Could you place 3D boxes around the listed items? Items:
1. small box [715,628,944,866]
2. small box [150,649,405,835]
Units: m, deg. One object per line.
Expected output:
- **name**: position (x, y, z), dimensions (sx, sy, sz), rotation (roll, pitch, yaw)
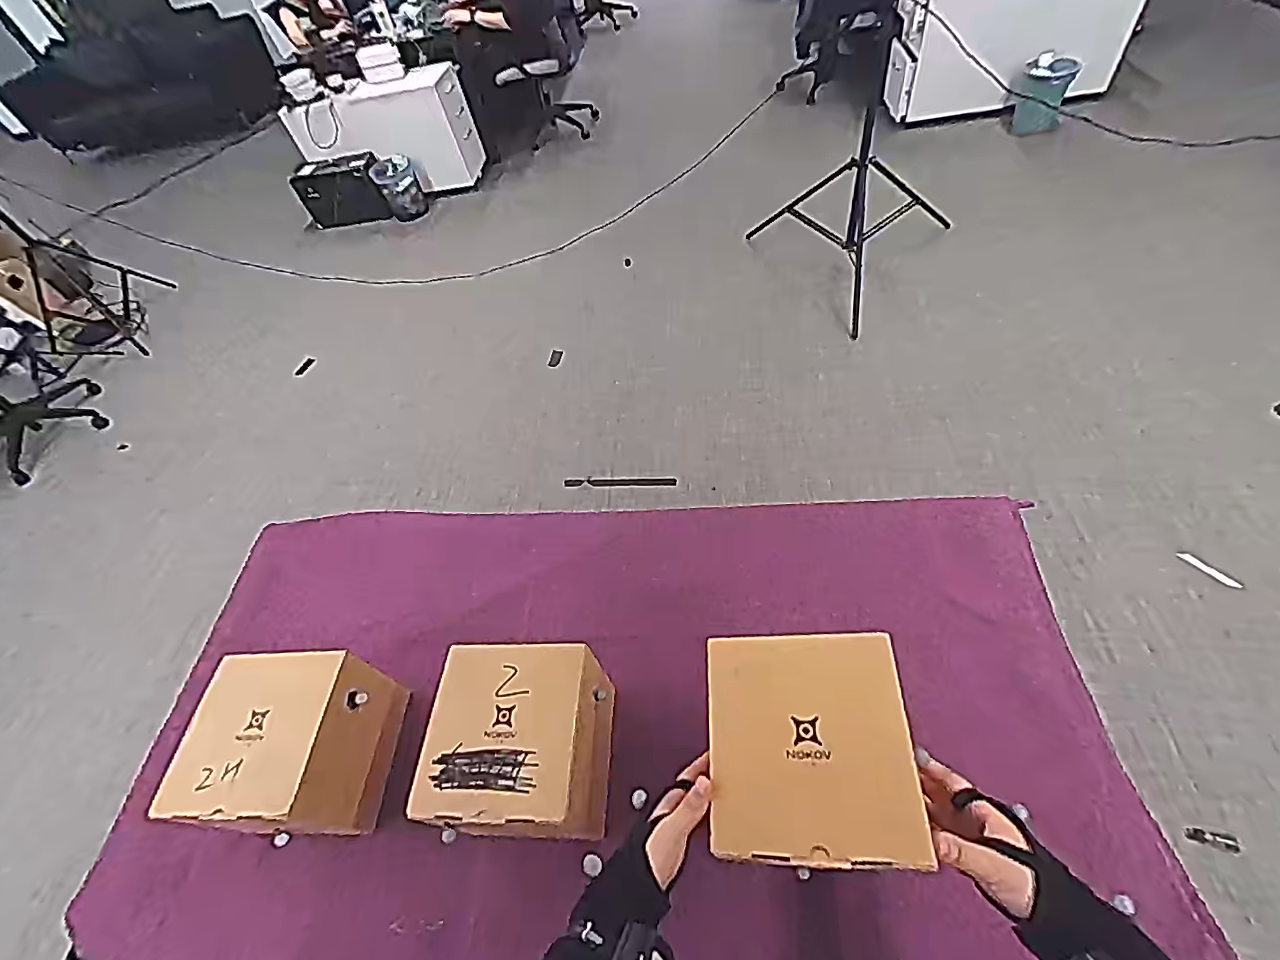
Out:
- **small box**: position (0.163, 0.256, 0.516), dimensions (0.168, 0.176, 0.179), rotation (-6, 54, 13)
- **small box**: position (-0.418, 0.324, 0.666), dimensions (0.168, 0.176, 0.179), rotation (-4, 52, 7)
